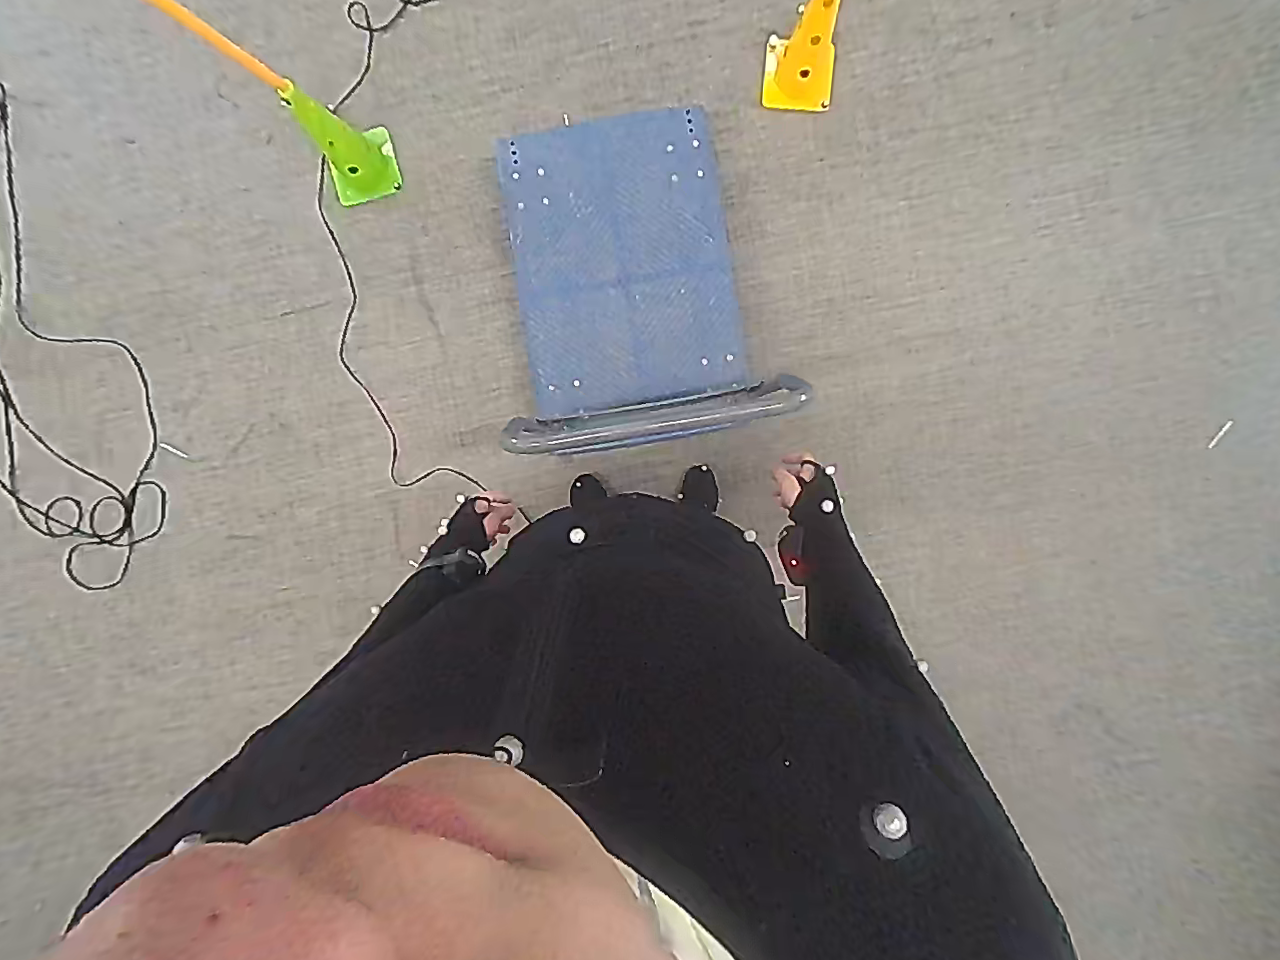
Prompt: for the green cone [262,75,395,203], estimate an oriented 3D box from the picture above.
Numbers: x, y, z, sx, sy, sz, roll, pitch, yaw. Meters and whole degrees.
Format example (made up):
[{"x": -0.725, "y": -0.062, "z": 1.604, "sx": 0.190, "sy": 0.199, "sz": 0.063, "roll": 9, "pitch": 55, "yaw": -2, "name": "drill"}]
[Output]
[{"x": -0.856, "y": -0.945, "z": 1.446, "sx": 0.202, "sy": 0.368, "sz": 0.200, "roll": -16, "pitch": 91, "yaw": 3, "name": "green cone"}]
